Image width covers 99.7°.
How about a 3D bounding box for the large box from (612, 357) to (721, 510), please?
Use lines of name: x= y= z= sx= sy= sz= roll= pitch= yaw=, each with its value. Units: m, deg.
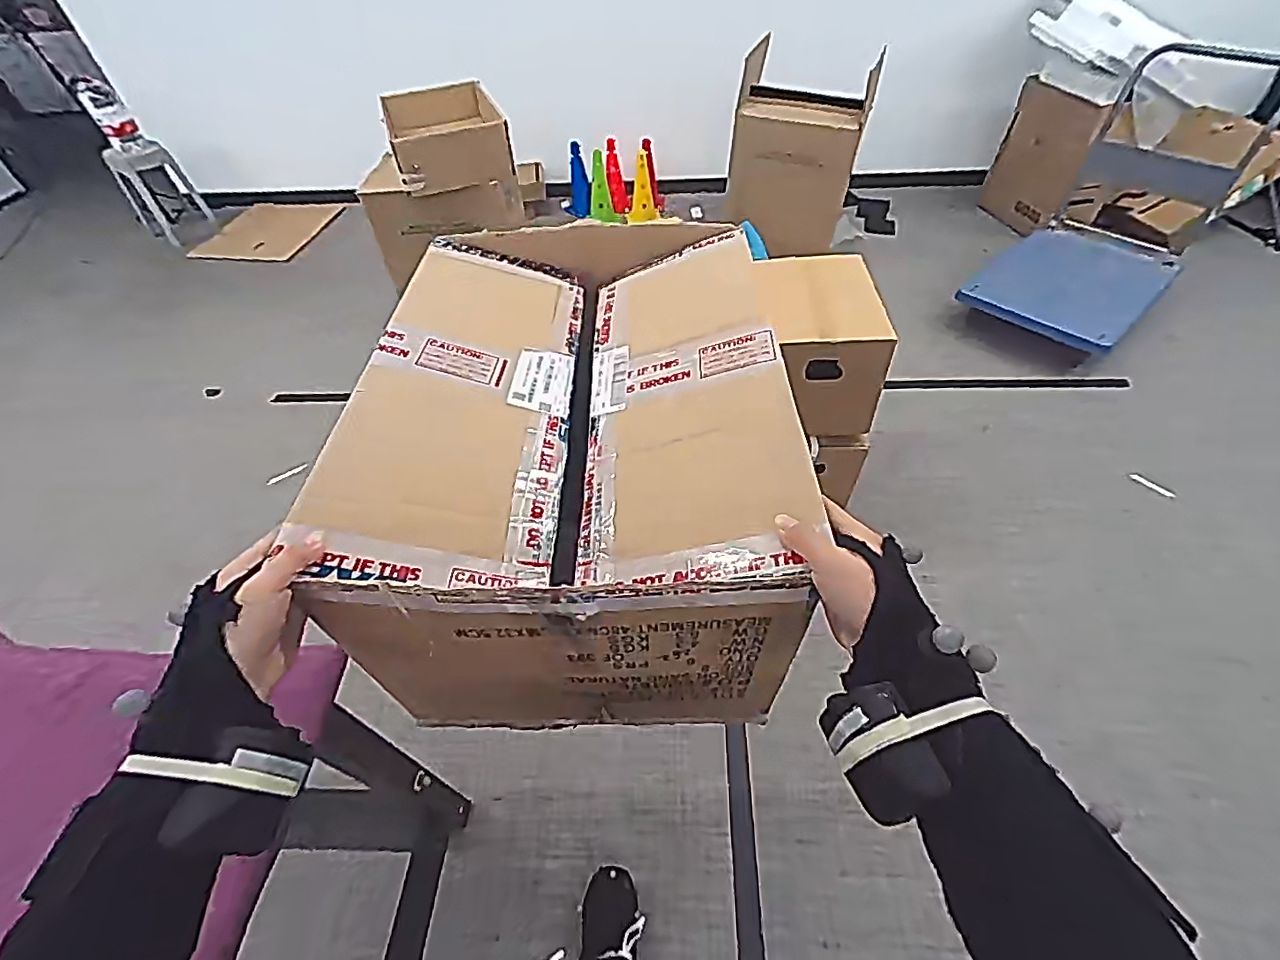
large box: x=0.075 y=-0.151 z=1.752 sx=0.320 sy=0.320 sz=0.408 roll=-2 pitch=49 yaw=2
